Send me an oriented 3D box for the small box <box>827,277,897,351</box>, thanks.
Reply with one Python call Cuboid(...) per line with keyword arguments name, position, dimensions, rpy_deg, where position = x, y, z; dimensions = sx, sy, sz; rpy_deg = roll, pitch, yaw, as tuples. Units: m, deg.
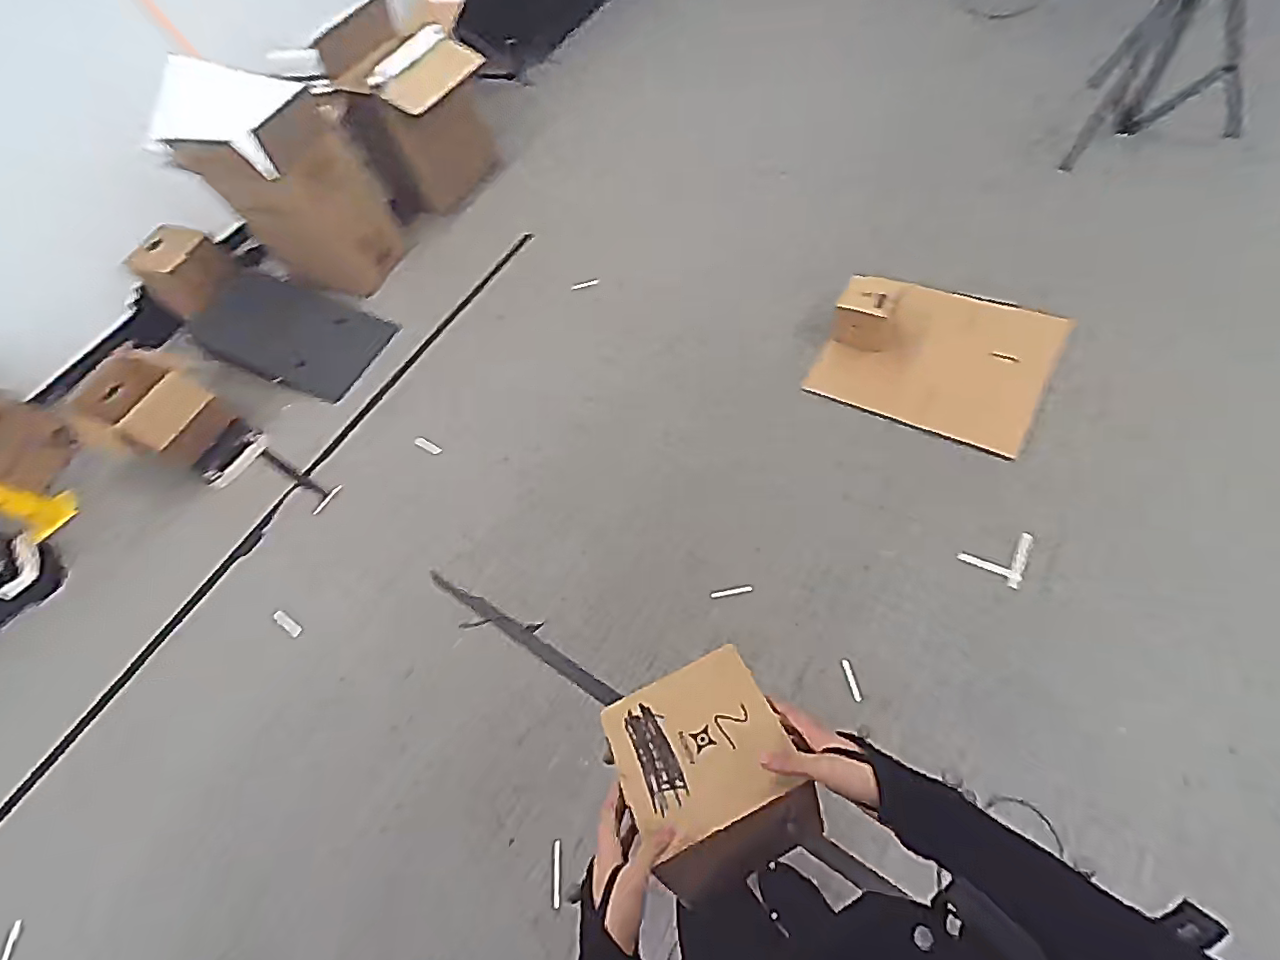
Cuboid(name="small box", position=(0.787, -0.587, 1.930), dimensions=(0.179, 0.176, 0.168), rpy_deg=(25, 69, 27))
